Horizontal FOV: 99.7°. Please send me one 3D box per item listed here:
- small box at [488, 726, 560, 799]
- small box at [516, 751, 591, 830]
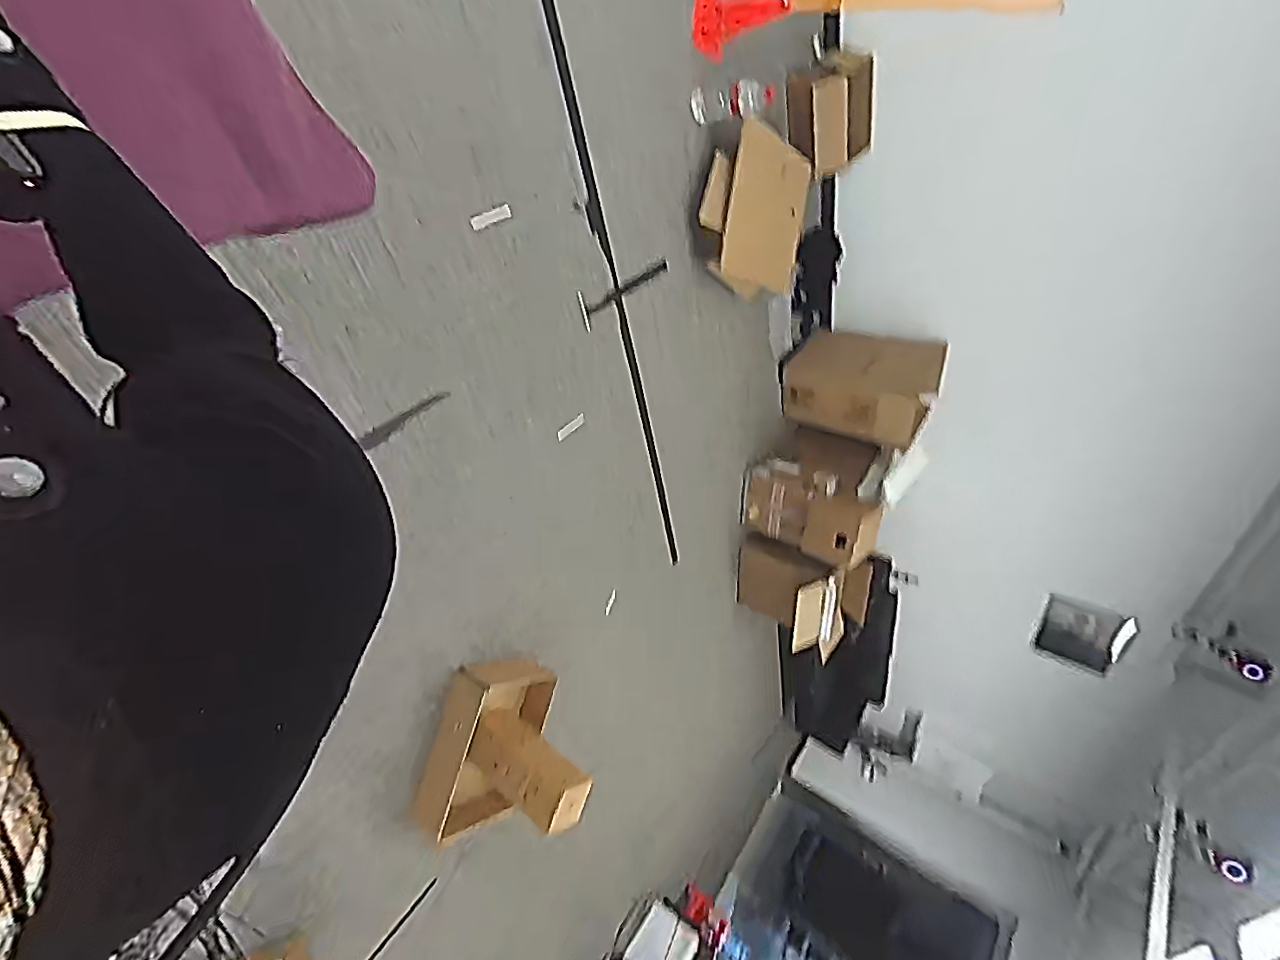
[{"bbox_3d":[-0.444,1.064,2.051,0.179,0.176,0.168,22,89,-56],"label":"small box"},{"bbox_3d":[-0.315,1.118,1.967,0.179,0.176,0.168,20,90,-56],"label":"small box"}]
